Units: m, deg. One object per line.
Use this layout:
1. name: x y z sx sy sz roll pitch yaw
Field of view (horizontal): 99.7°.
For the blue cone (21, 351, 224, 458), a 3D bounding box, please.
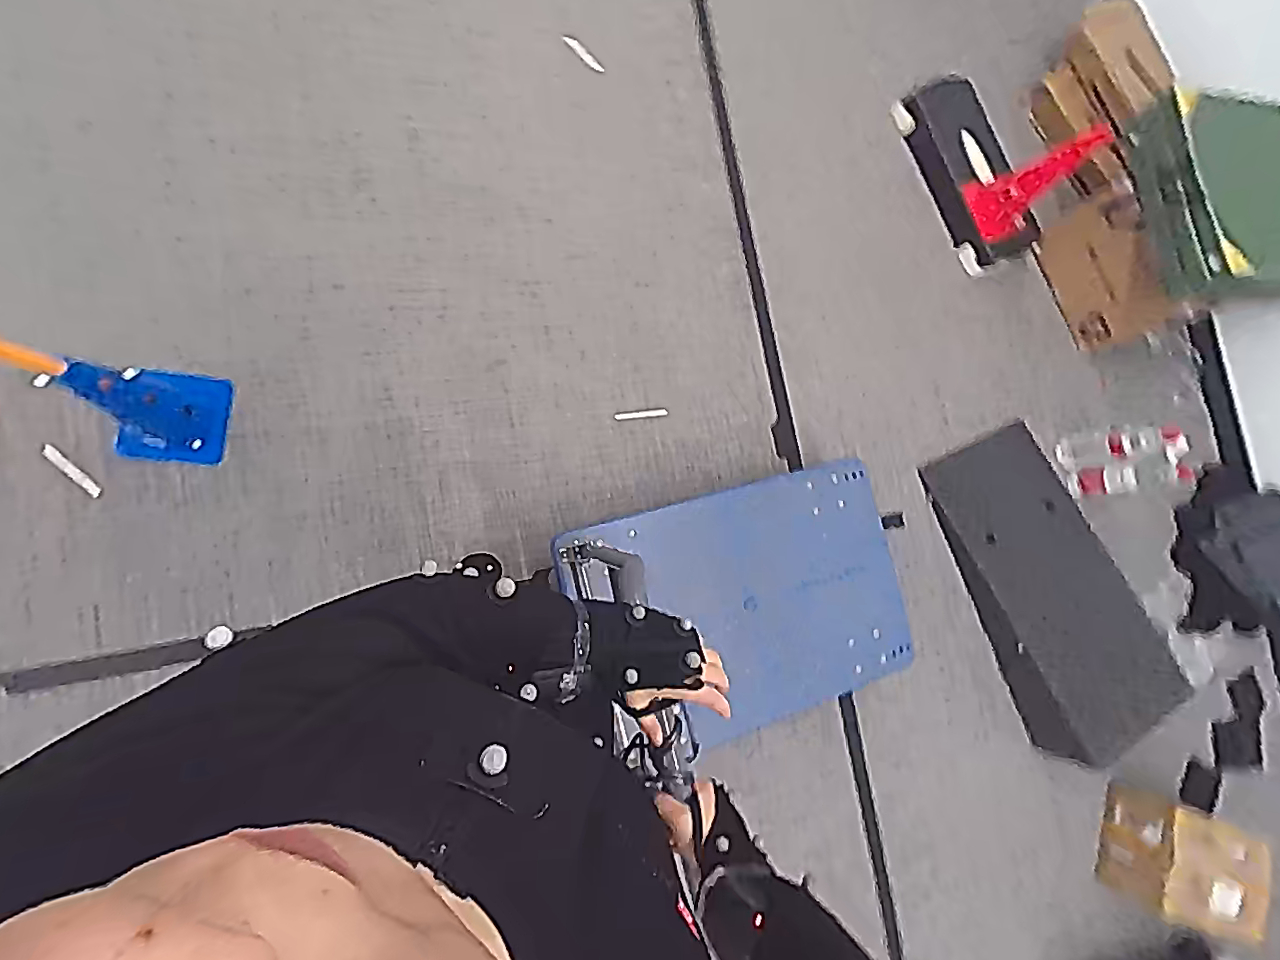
1. blue cone: -0.985 -0.164 1.025 0.192 0.380 0.193 8 81 -14
